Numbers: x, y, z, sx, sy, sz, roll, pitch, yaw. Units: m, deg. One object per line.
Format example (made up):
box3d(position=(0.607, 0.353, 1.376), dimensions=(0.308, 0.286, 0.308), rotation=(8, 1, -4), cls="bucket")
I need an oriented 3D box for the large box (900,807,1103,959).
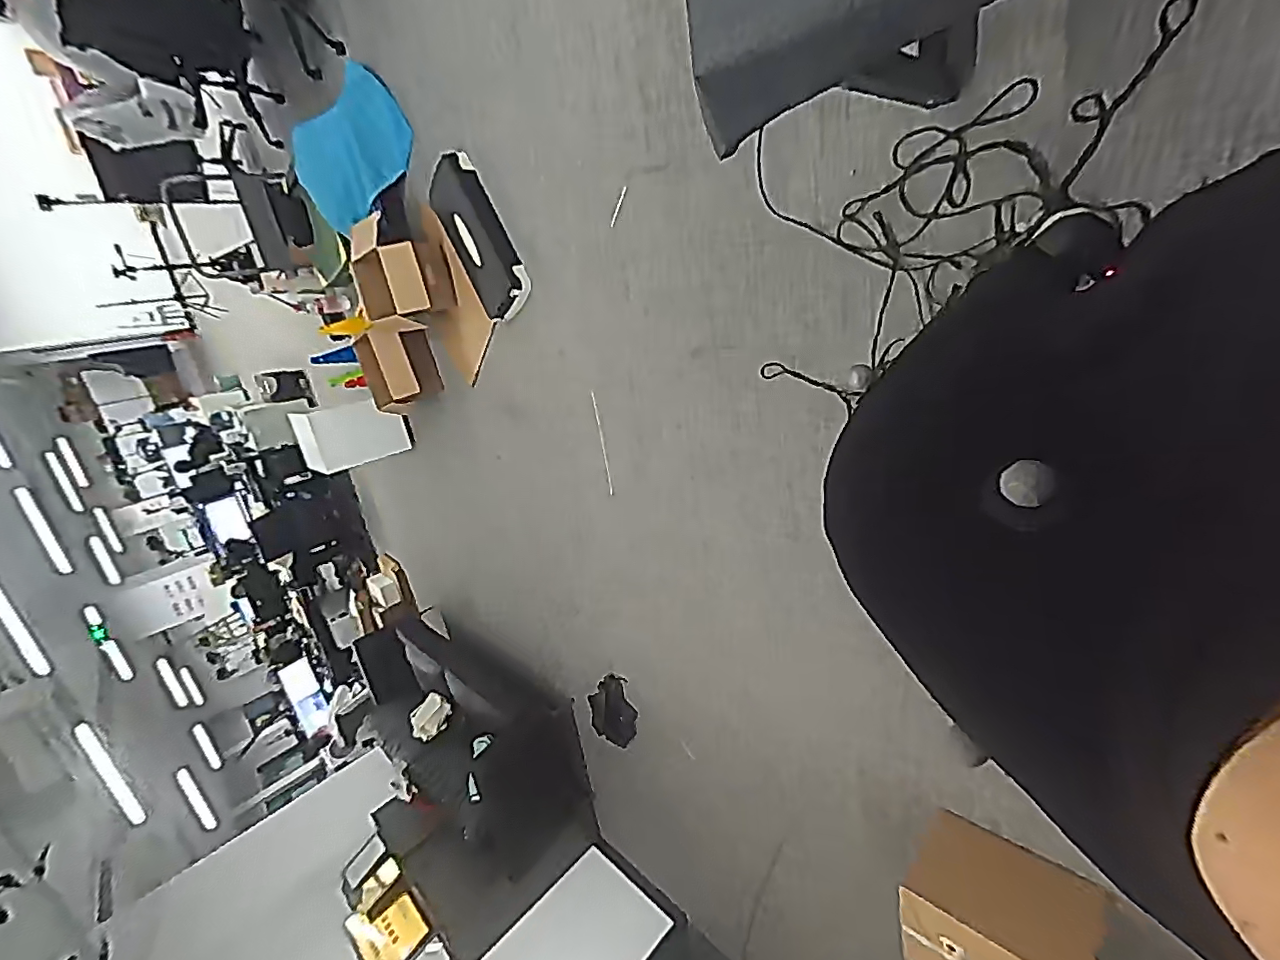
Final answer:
box3d(position=(0.999, 1.227, 1.504), dimensions=(0.408, 0.320, 0.320), rotation=(9, 116, 47), cls="large box")
